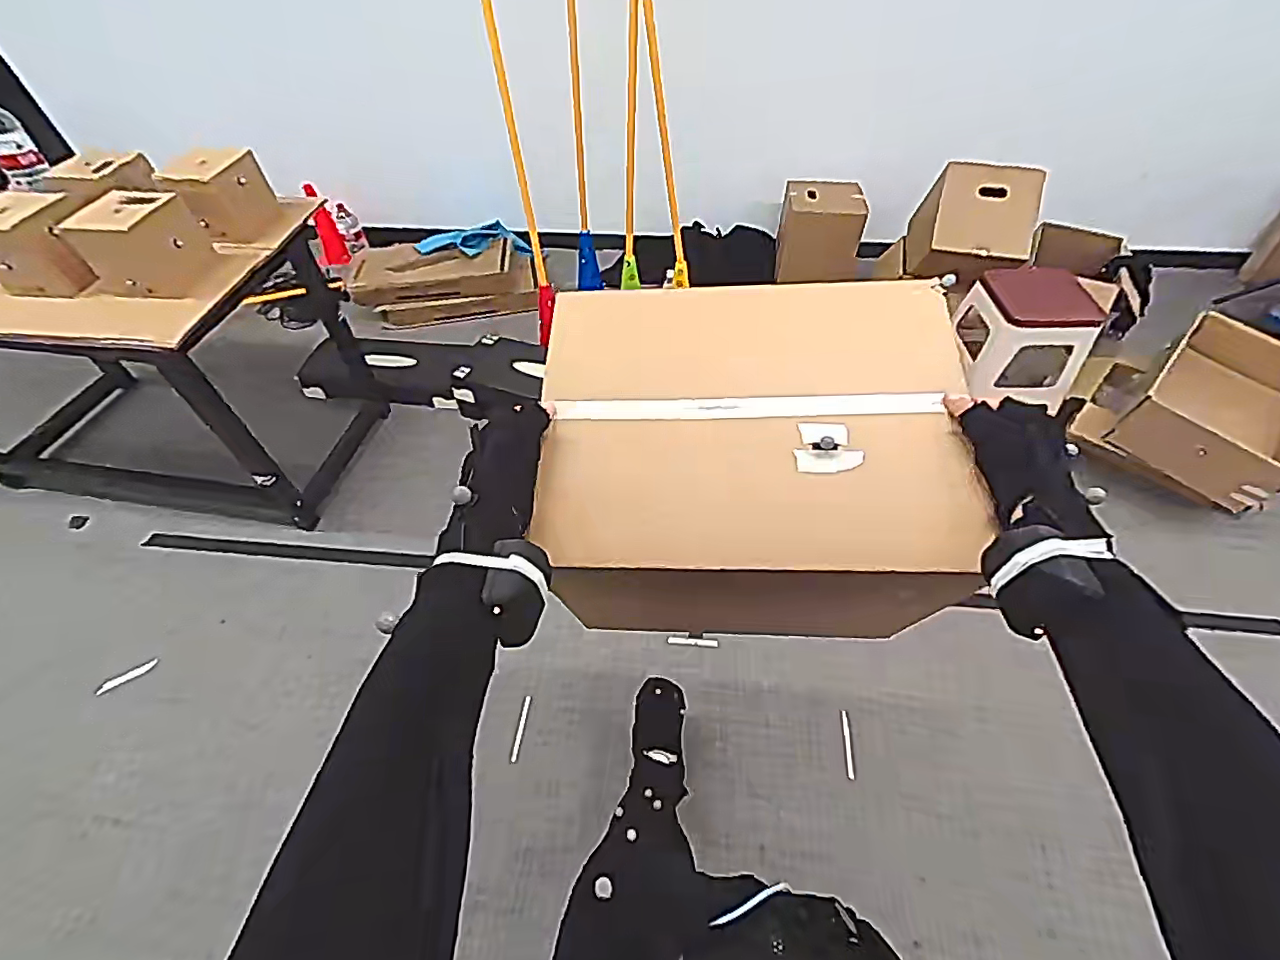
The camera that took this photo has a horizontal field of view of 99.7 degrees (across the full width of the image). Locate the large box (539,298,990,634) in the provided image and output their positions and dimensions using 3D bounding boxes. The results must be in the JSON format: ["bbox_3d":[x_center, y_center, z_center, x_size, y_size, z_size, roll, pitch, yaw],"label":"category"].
[{"bbox_3d":[0.117,0.006,0.673,0.408,0.320,0.320,0,65,5],"label":"large box"}]
